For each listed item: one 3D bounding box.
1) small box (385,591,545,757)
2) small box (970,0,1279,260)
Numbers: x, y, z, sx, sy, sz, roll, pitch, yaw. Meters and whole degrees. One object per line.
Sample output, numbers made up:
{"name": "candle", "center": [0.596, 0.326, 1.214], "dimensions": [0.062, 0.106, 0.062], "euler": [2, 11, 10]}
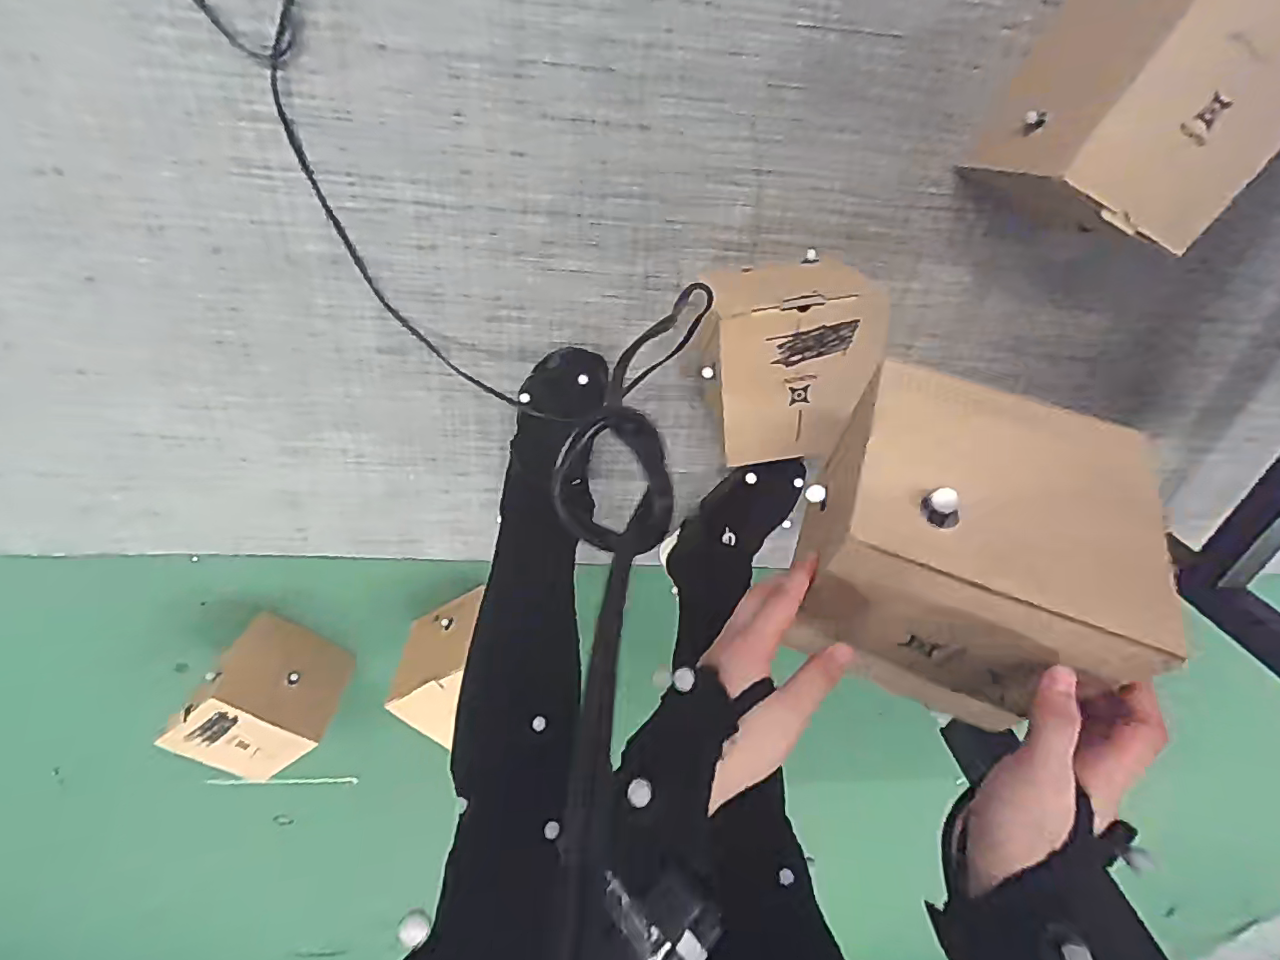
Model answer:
{"name": "small box", "center": [-0.274, 0.318, 0.897], "dimensions": [0.168, 0.176, 0.179], "euler": [-28, 120, 14]}
{"name": "small box", "center": [0.459, -0.341, 0.515], "dimensions": [0.168, 0.176, 0.179], "euler": [19, 118, -16]}
